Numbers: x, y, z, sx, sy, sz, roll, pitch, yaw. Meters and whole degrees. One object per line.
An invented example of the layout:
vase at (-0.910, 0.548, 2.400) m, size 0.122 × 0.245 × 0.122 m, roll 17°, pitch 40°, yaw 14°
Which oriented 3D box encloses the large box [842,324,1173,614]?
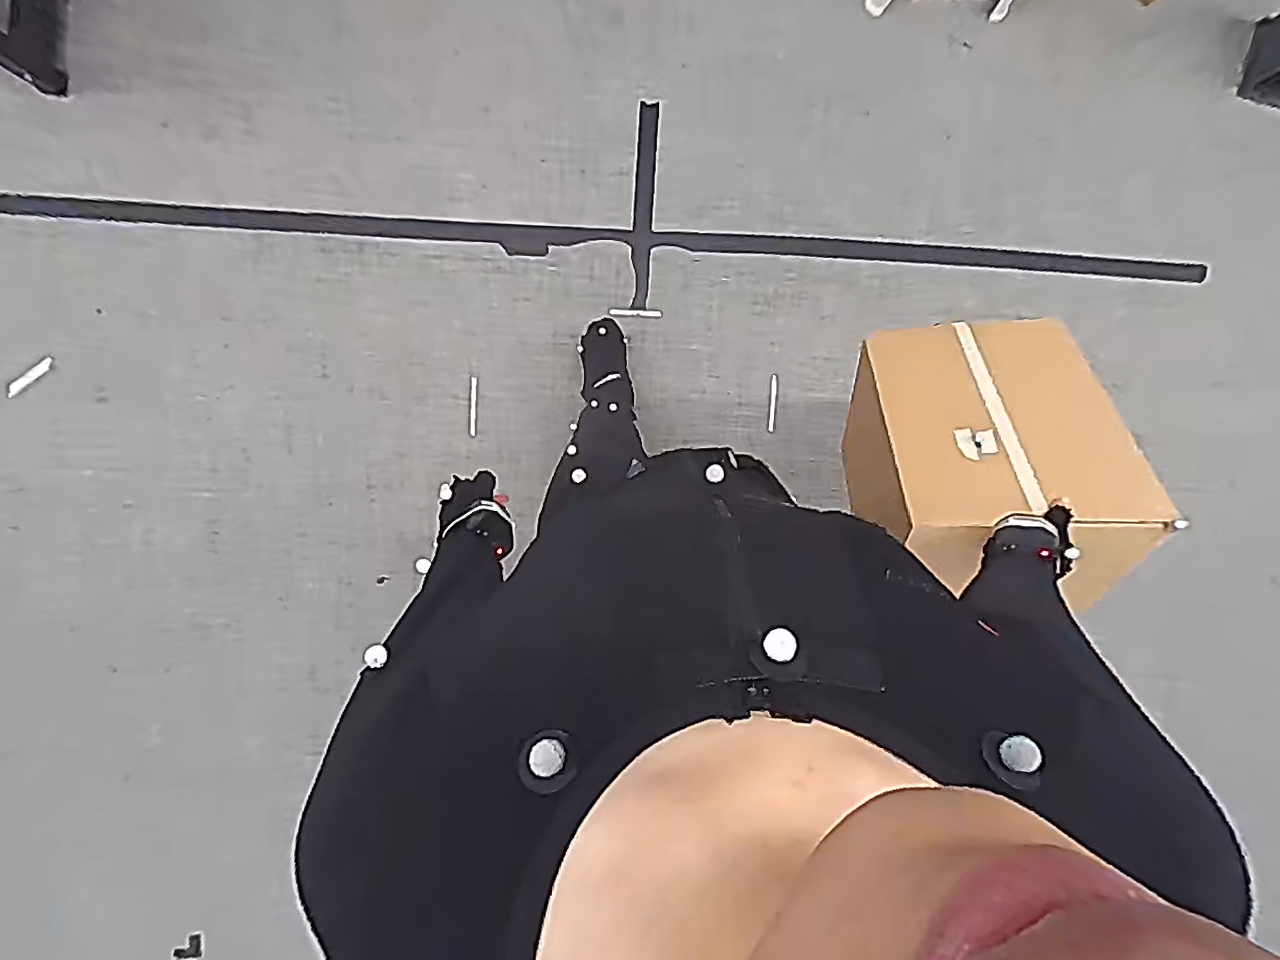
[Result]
large box at (0.560, -0.017, 0.940) m, size 0.320 × 0.320 × 0.408 m, roll -1°, pitch 54°, yaw 10°
